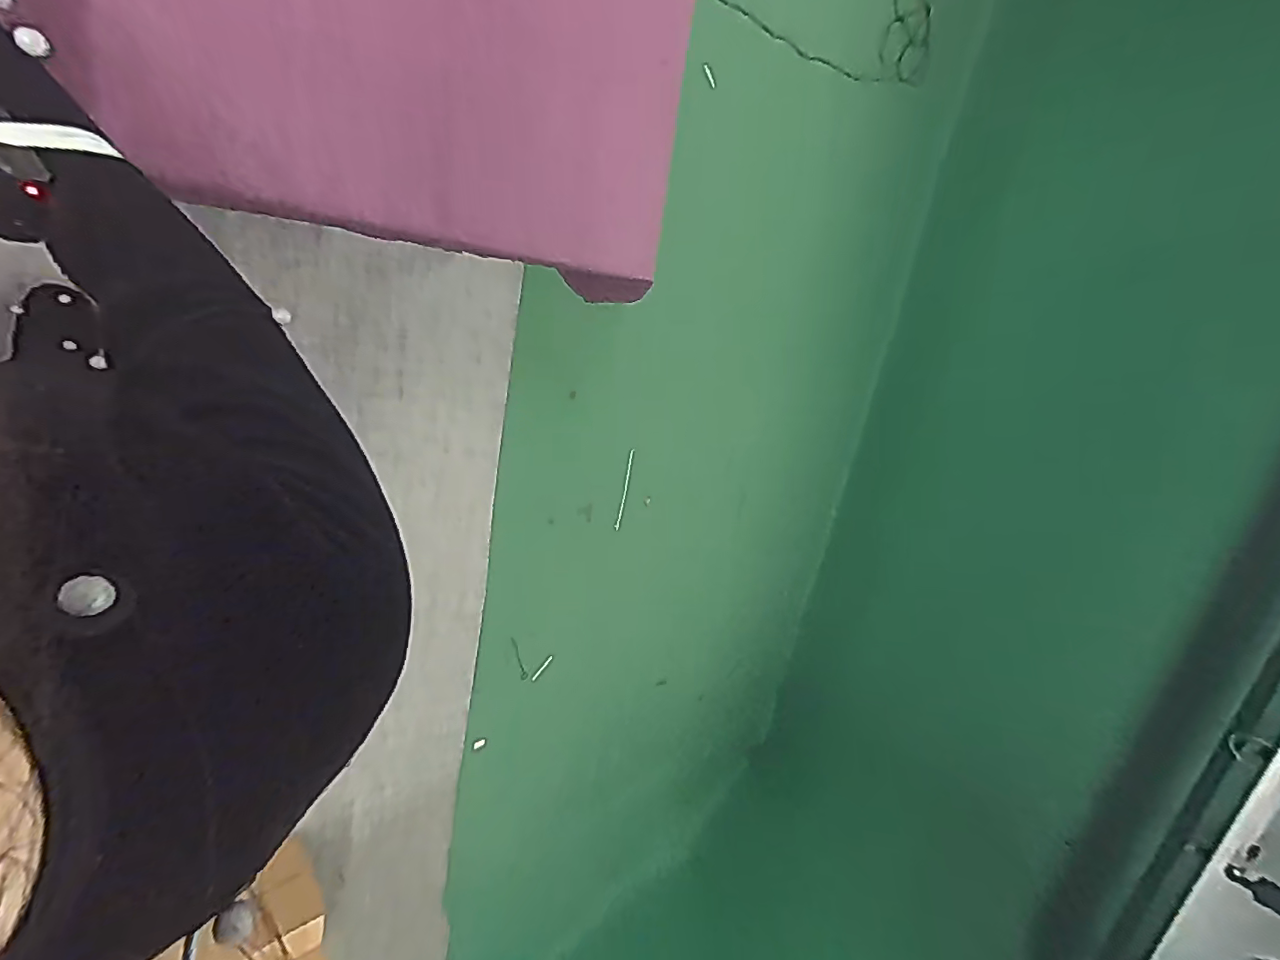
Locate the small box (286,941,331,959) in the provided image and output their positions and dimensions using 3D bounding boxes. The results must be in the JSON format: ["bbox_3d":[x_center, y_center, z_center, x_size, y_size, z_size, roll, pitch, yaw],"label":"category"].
[{"bbox_3d":[-0.921,1.414,1.452,0.168,0.176,0.179,2,109,-50],"label":"small box"}]
